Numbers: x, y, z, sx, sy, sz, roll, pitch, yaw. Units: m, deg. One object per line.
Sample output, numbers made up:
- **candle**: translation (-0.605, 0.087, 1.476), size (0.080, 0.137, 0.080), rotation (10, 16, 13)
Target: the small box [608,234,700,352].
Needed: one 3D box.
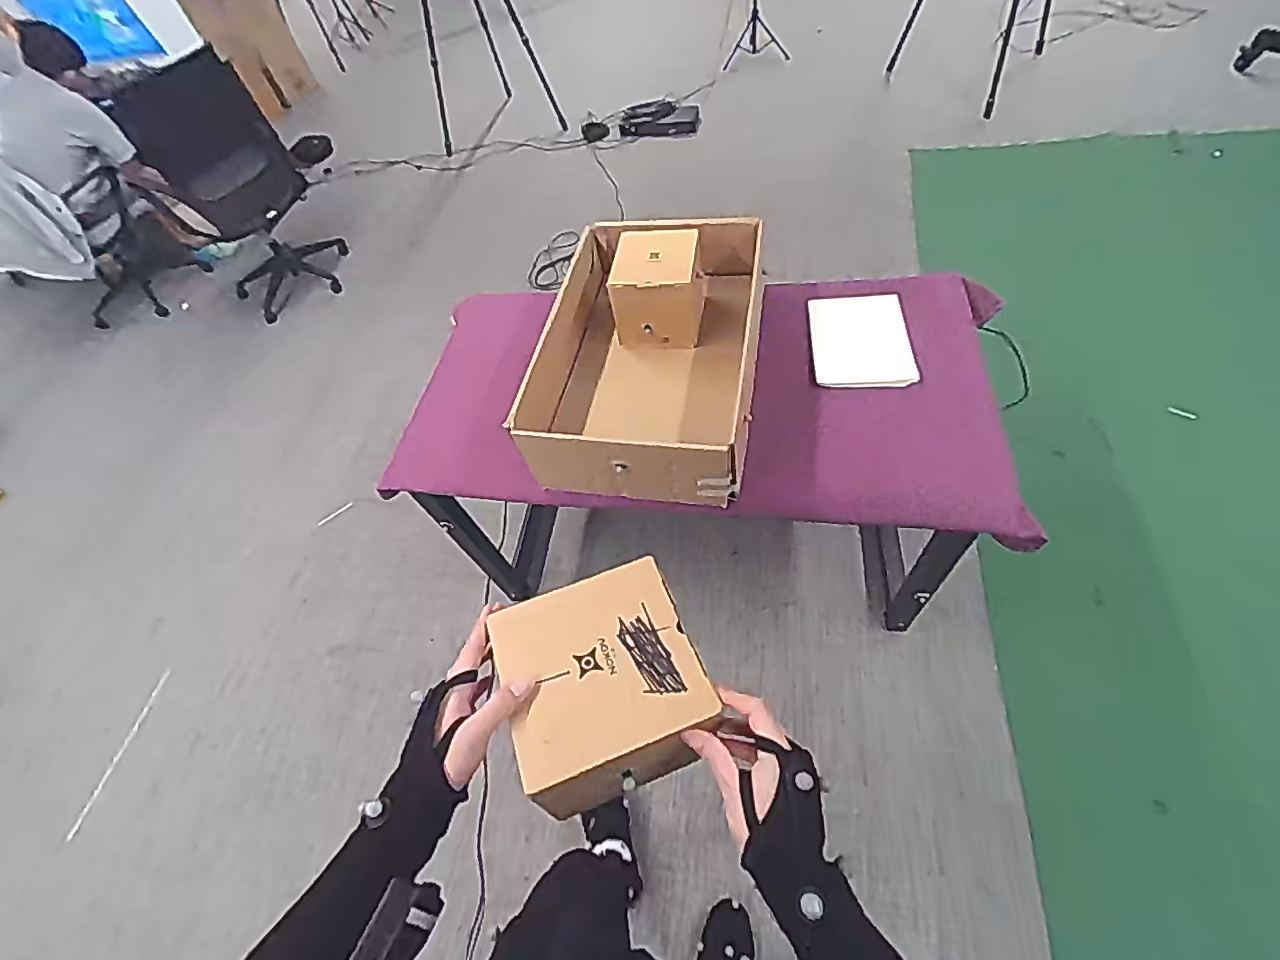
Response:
- **small box**: translation (0.039, -0.398, 1.155), size (0.168, 0.176, 0.179), rotation (3, 58, 11)
